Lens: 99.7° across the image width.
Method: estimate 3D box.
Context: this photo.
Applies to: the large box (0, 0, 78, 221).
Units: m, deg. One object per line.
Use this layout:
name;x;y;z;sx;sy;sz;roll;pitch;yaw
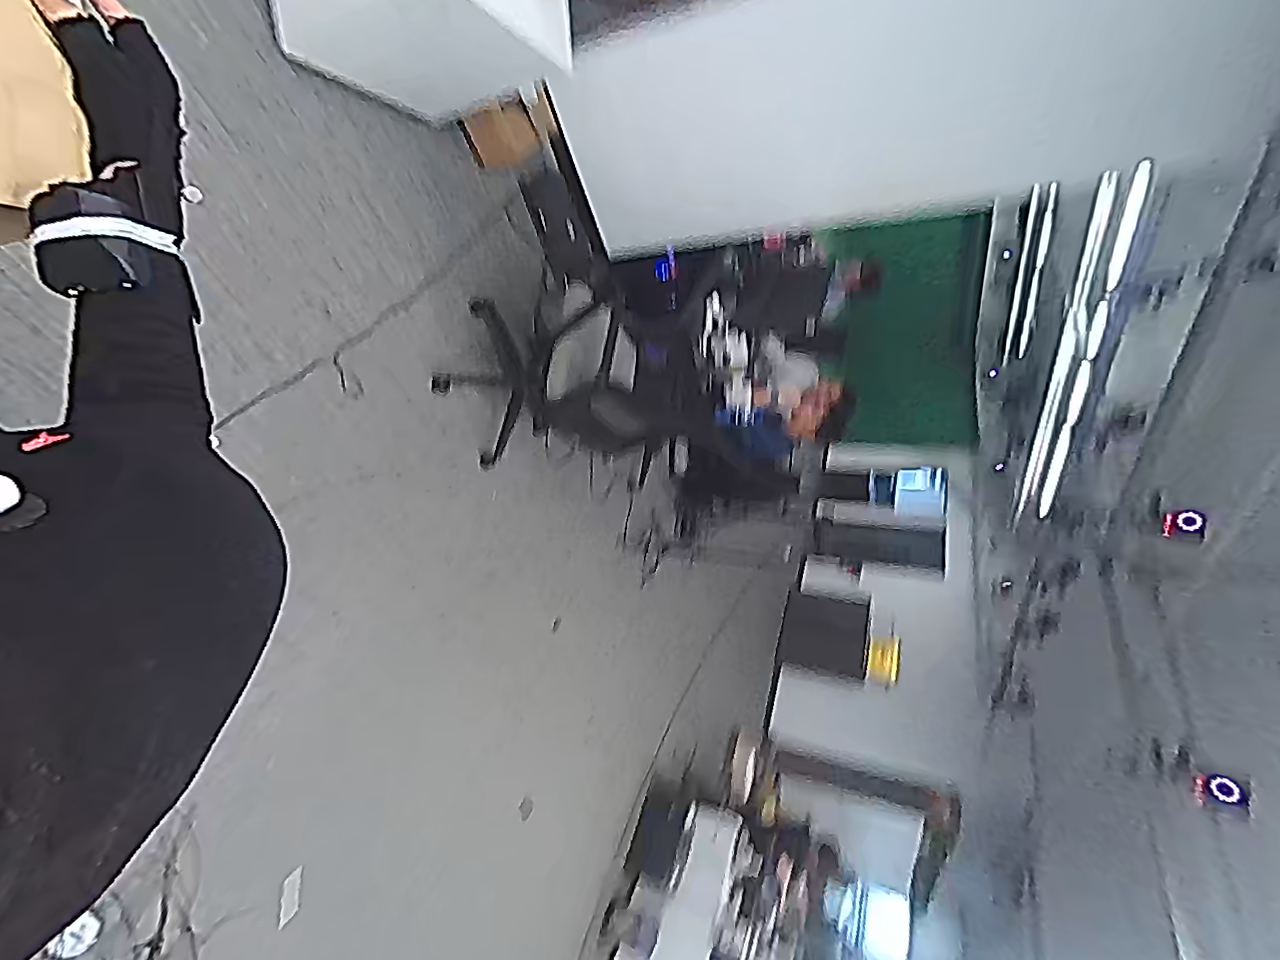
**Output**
large box;-0.639;-0.347;0.275;0.408;0.320;0.320;-14;111;-62
